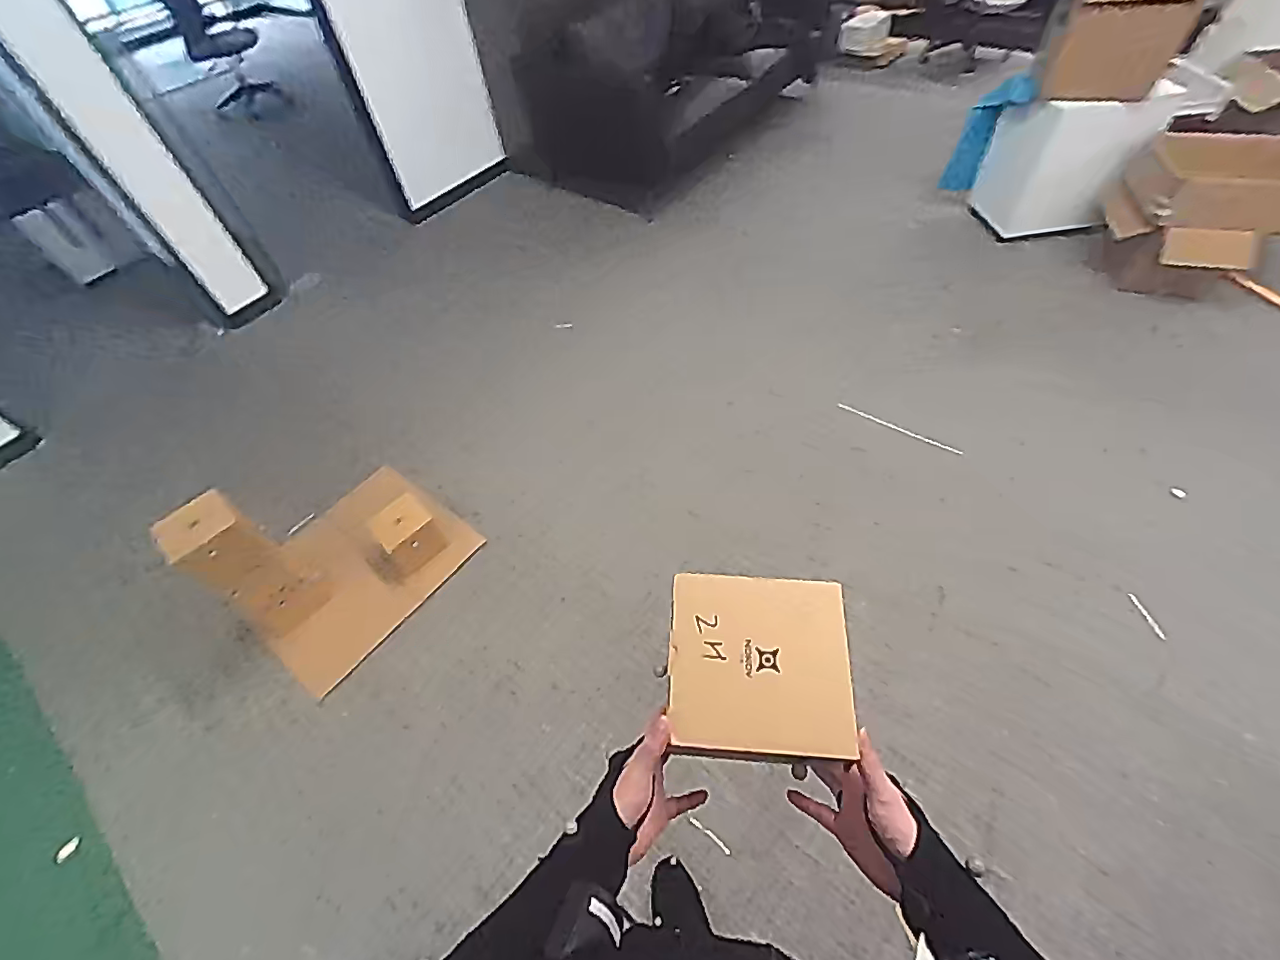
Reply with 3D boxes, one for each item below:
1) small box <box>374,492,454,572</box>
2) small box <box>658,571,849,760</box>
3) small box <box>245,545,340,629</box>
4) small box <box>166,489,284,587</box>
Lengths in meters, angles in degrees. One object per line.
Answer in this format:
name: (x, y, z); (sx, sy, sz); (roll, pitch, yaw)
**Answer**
small box: (-0.768, 0.182, 1.862); (0.168, 0.176, 0.179); (36, 66, 28)
small box: (0.112, 0.211, 0.599); (0.179, 0.176, 0.168); (2, 61, 5)
small box: (-1.134, 0.355, 1.775); (0.168, 0.176, 0.179); (35, 64, 27)
small box: (-1.150, 0.167, 1.507); (0.179, 0.176, 0.168); (-41, 60, -22)
